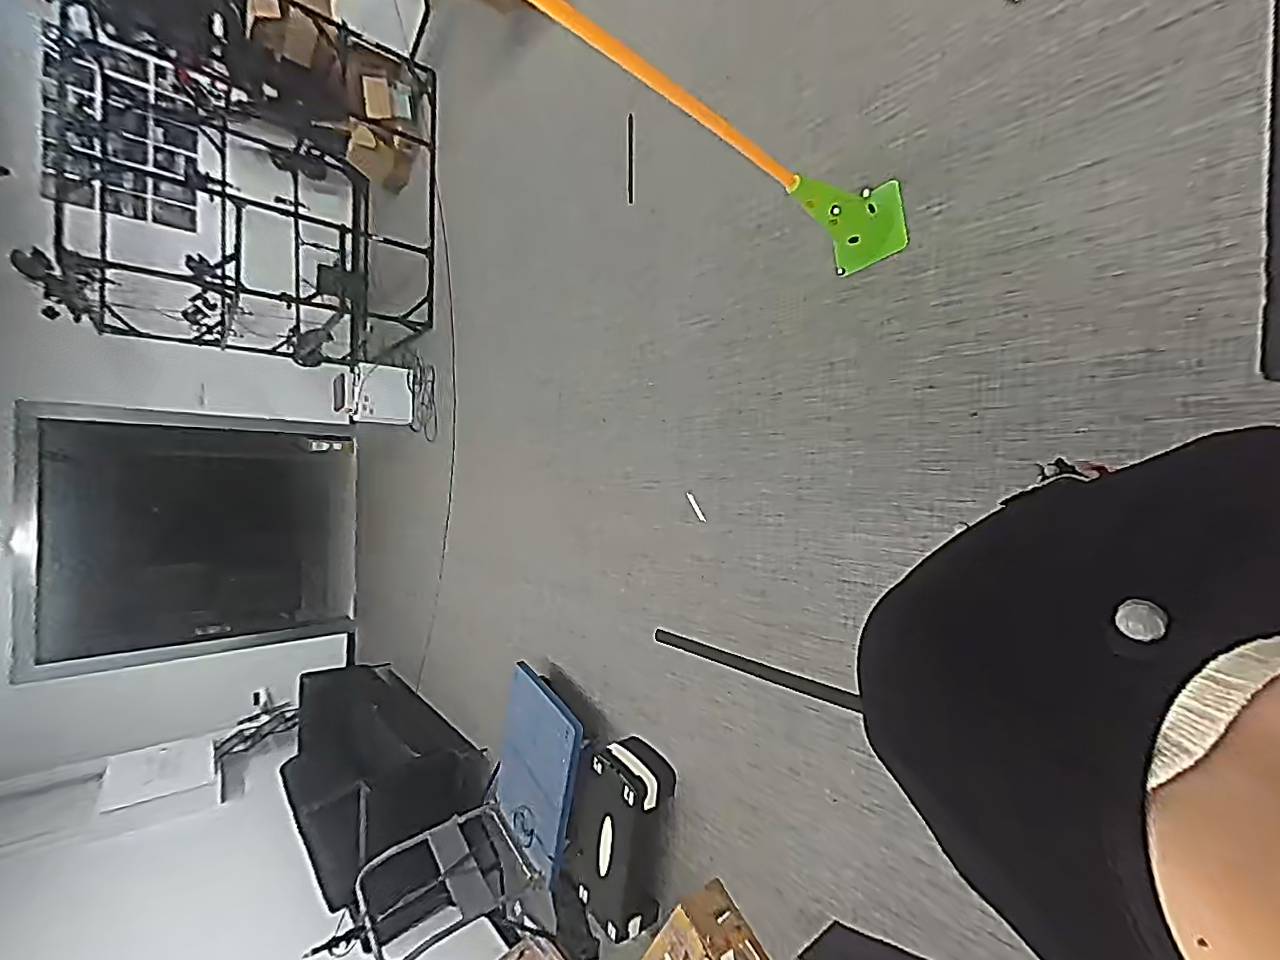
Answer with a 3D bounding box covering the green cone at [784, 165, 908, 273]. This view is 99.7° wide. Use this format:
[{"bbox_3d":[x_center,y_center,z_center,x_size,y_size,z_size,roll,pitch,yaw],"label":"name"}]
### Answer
[{"bbox_3d":[0.495,-0.705,1.376,0.200,0.368,0.202,-15,76,49],"label":"green cone"}]
